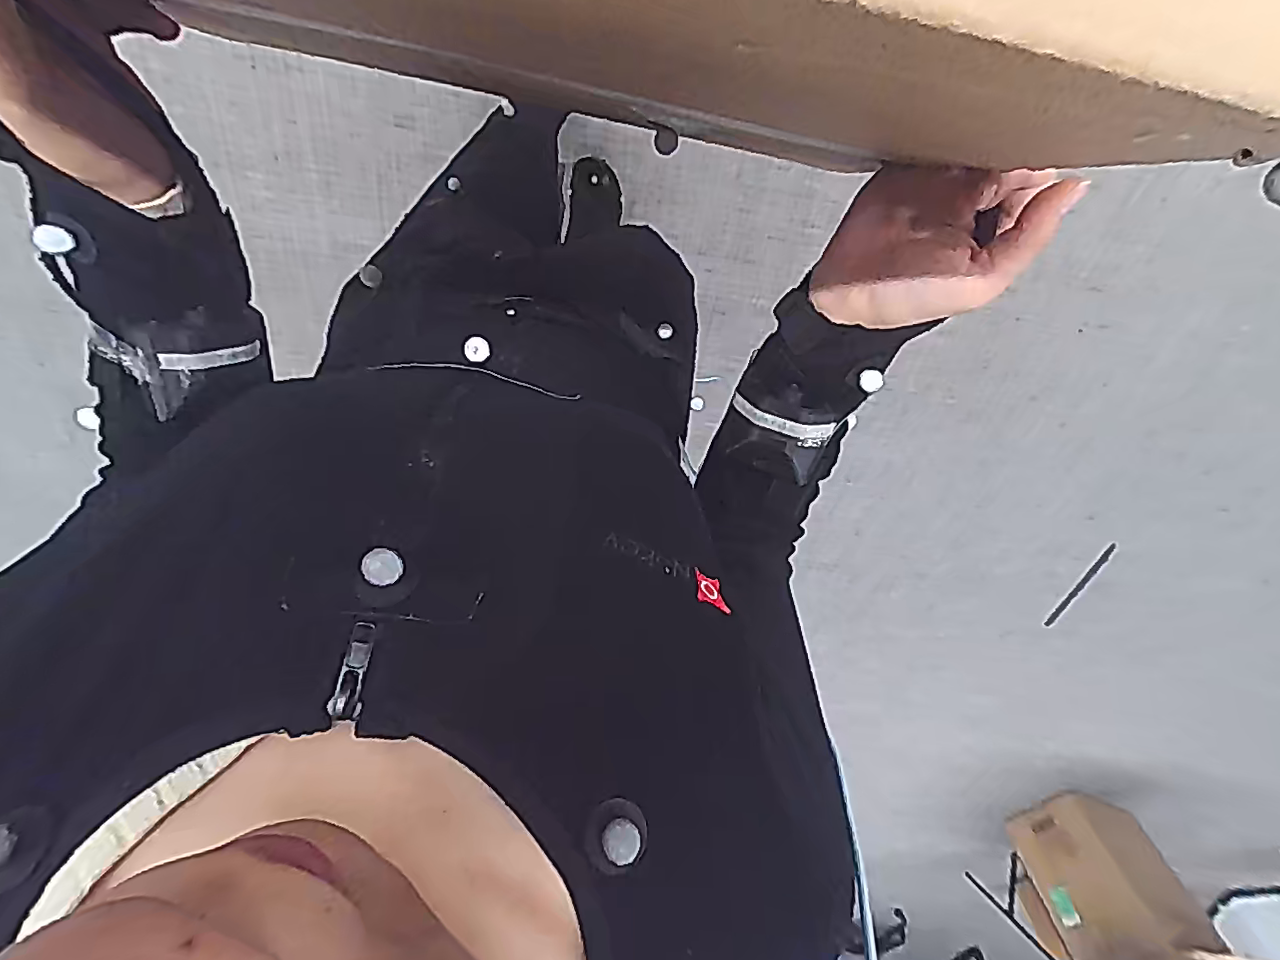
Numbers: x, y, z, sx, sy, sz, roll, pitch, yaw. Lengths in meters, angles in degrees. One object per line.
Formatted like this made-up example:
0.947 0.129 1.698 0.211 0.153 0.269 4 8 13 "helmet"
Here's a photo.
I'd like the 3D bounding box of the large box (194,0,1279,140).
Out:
-0.020 -0.316 0.141 0.408 0.320 0.320 6 119 -8 "large box"
